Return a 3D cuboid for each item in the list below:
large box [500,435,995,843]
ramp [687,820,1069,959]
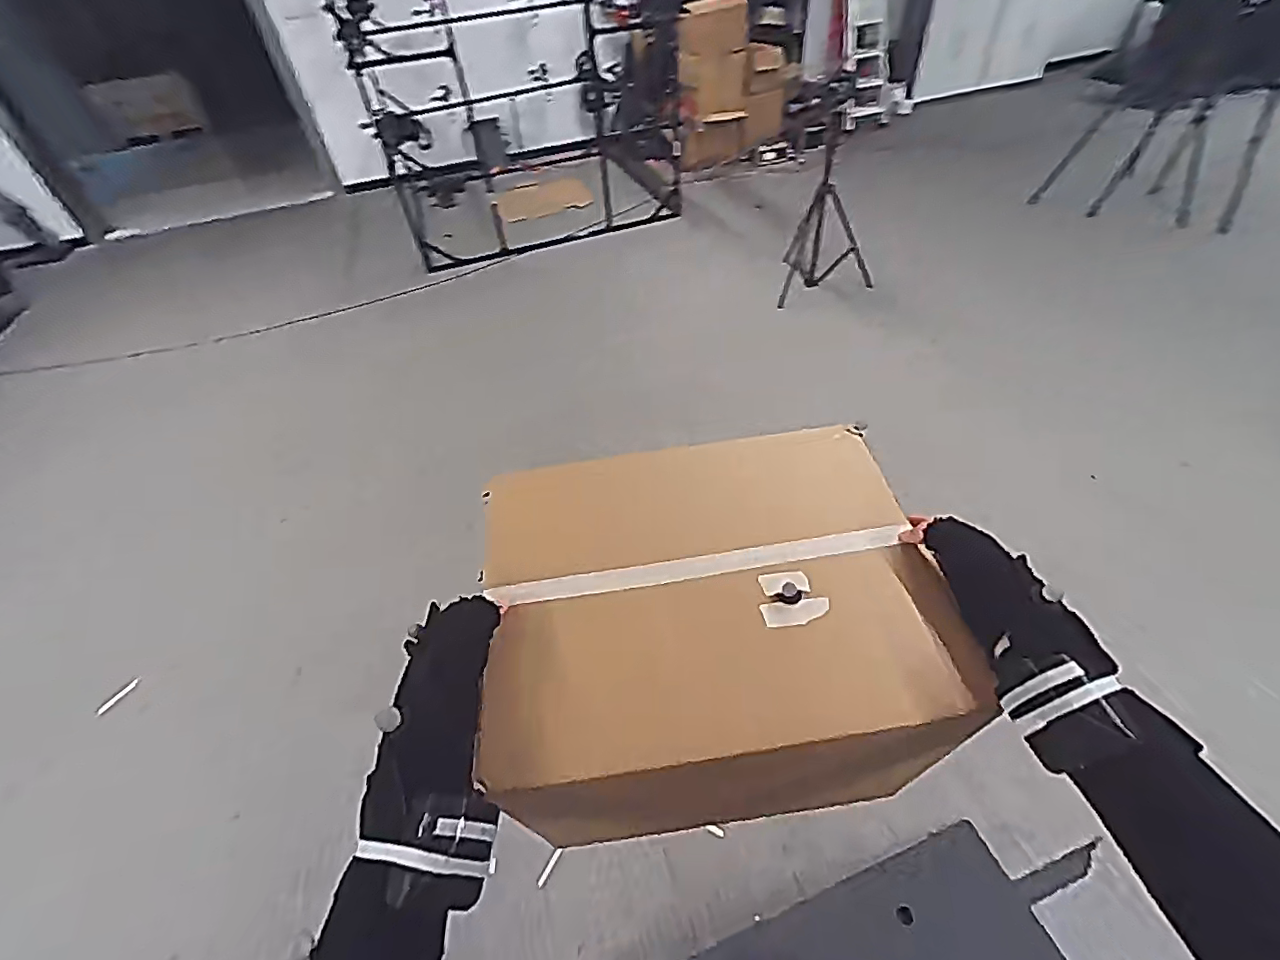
[{"bbox_3d":[0.077,0.187,0.626,0.408,0.320,0.320,-8,49,-1],"label":"large box"},{"bbox_3d":[0.450,1.104,1.055,0.991,0.206,0.509,-20,45,-12],"label":"ramp"}]
